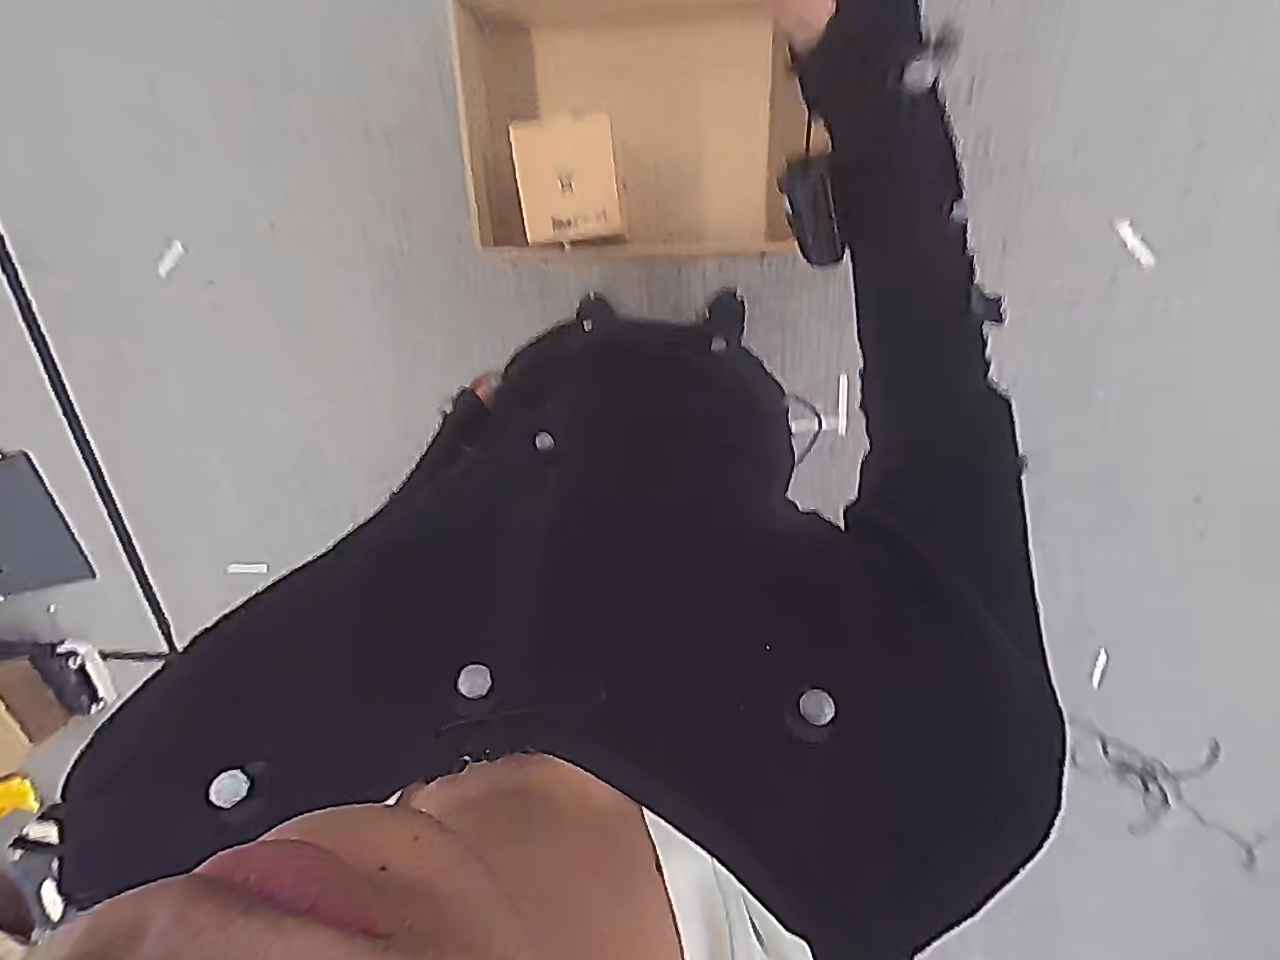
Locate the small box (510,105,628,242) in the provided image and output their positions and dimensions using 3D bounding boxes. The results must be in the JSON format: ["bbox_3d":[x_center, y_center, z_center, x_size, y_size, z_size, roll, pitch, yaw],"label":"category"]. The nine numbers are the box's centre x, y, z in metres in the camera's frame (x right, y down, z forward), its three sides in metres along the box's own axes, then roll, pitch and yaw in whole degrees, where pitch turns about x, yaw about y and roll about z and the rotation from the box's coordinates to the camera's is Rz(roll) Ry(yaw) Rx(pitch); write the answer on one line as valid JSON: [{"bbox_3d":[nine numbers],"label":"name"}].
[{"bbox_3d":[-0.116,-0.531,0.960,0.168,0.176,0.179,-4,110,6],"label":"small box"}]
